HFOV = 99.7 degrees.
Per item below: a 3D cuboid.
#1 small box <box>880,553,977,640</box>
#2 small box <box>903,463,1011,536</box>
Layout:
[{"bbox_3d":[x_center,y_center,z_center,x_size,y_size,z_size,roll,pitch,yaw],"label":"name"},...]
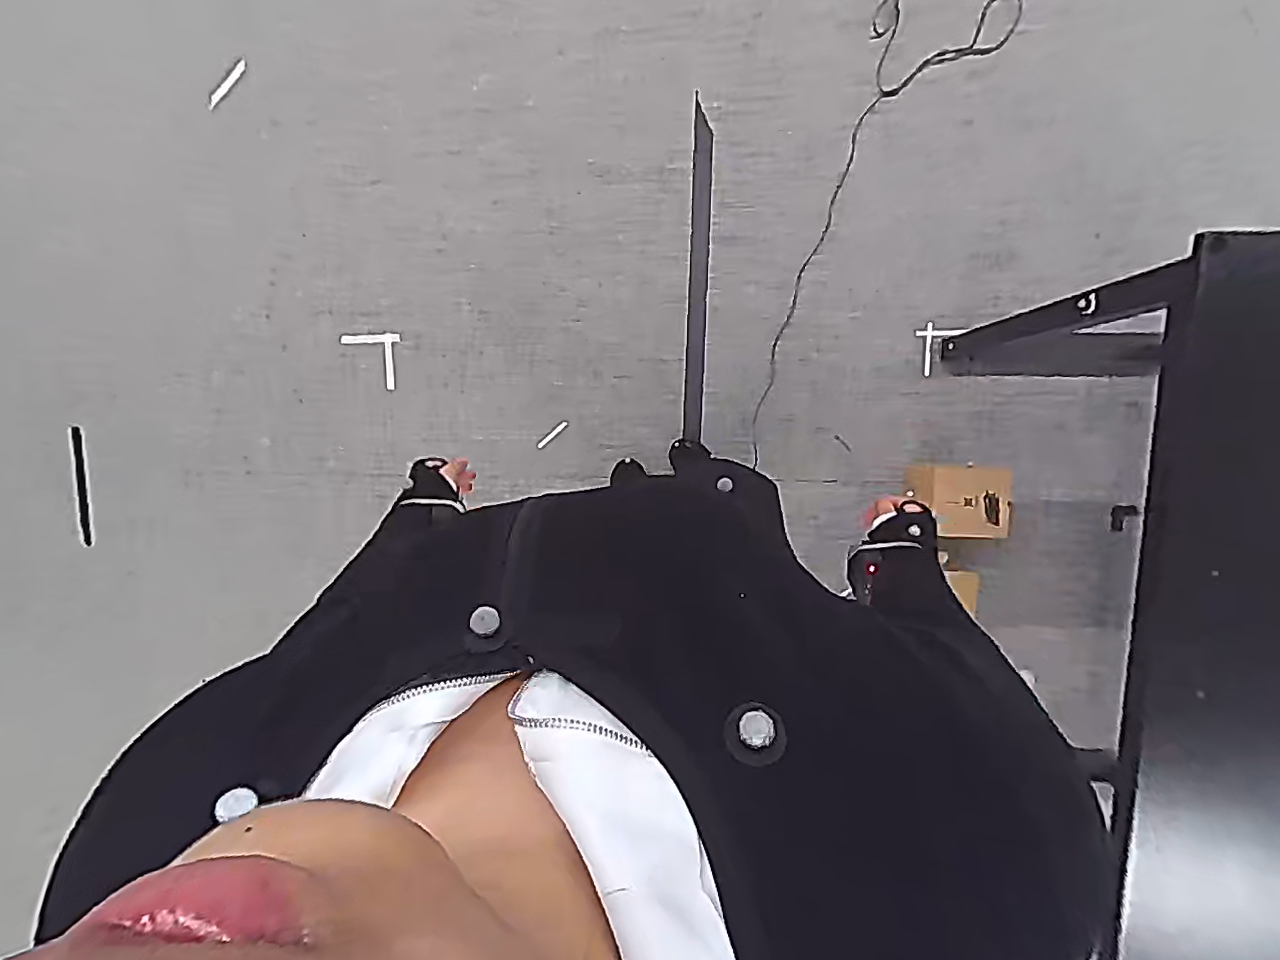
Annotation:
[{"bbox_3d":[0.728,0.292,1.381,0.168,0.176,0.179,1,95,4],"label":"small box"},{"bbox_3d":[0.785,0.043,1.352,0.179,0.176,0.168,1,95,5],"label":"small box"}]
